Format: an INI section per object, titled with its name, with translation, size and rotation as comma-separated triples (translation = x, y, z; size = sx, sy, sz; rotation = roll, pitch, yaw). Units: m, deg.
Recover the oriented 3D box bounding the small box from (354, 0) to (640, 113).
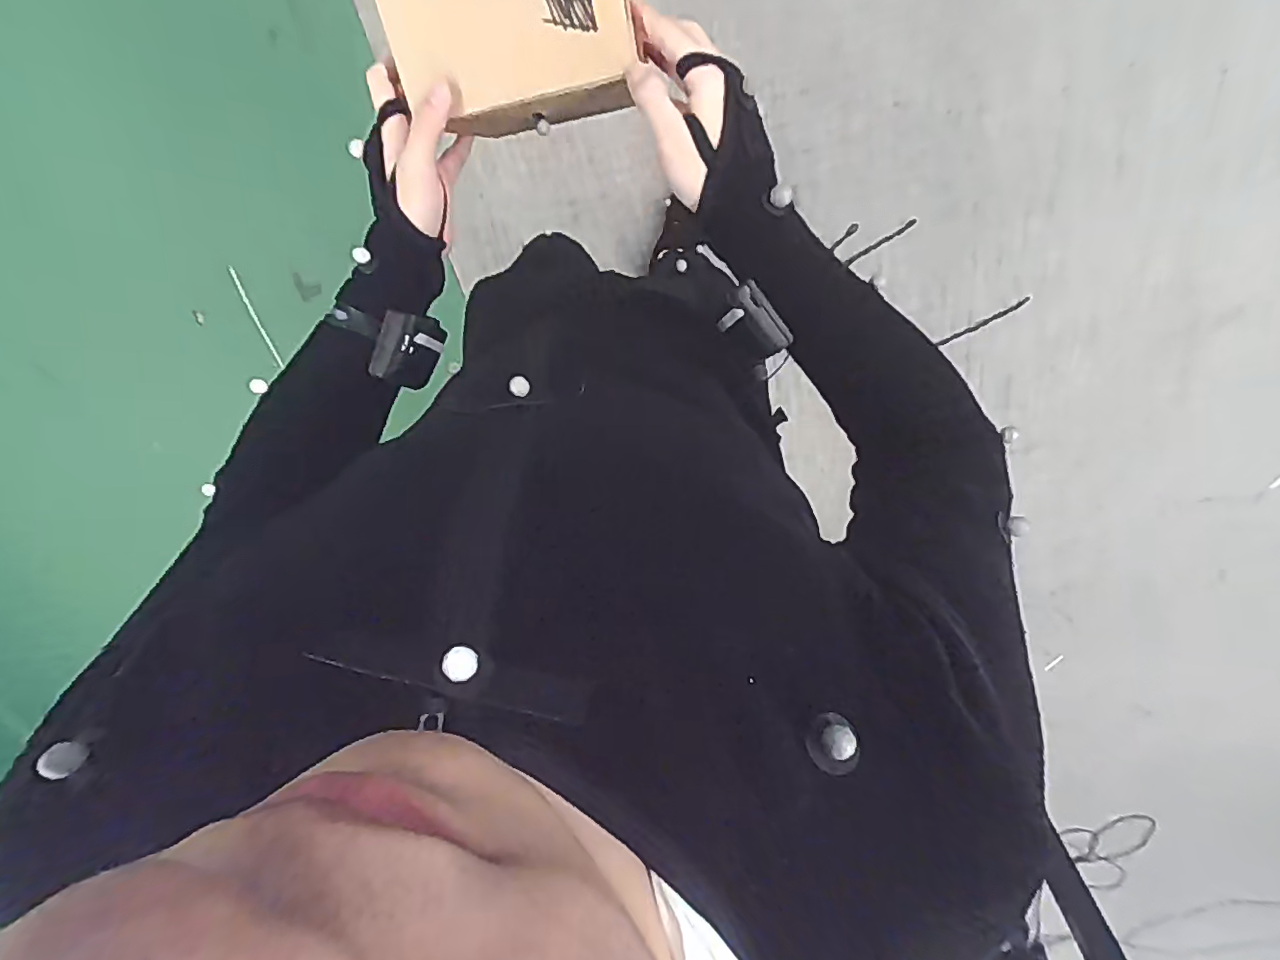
[small box]
translation = -0.098, -0.384, 0.398
size = 0.179, 0.176, 0.168
rotation = -3, 120, 11
